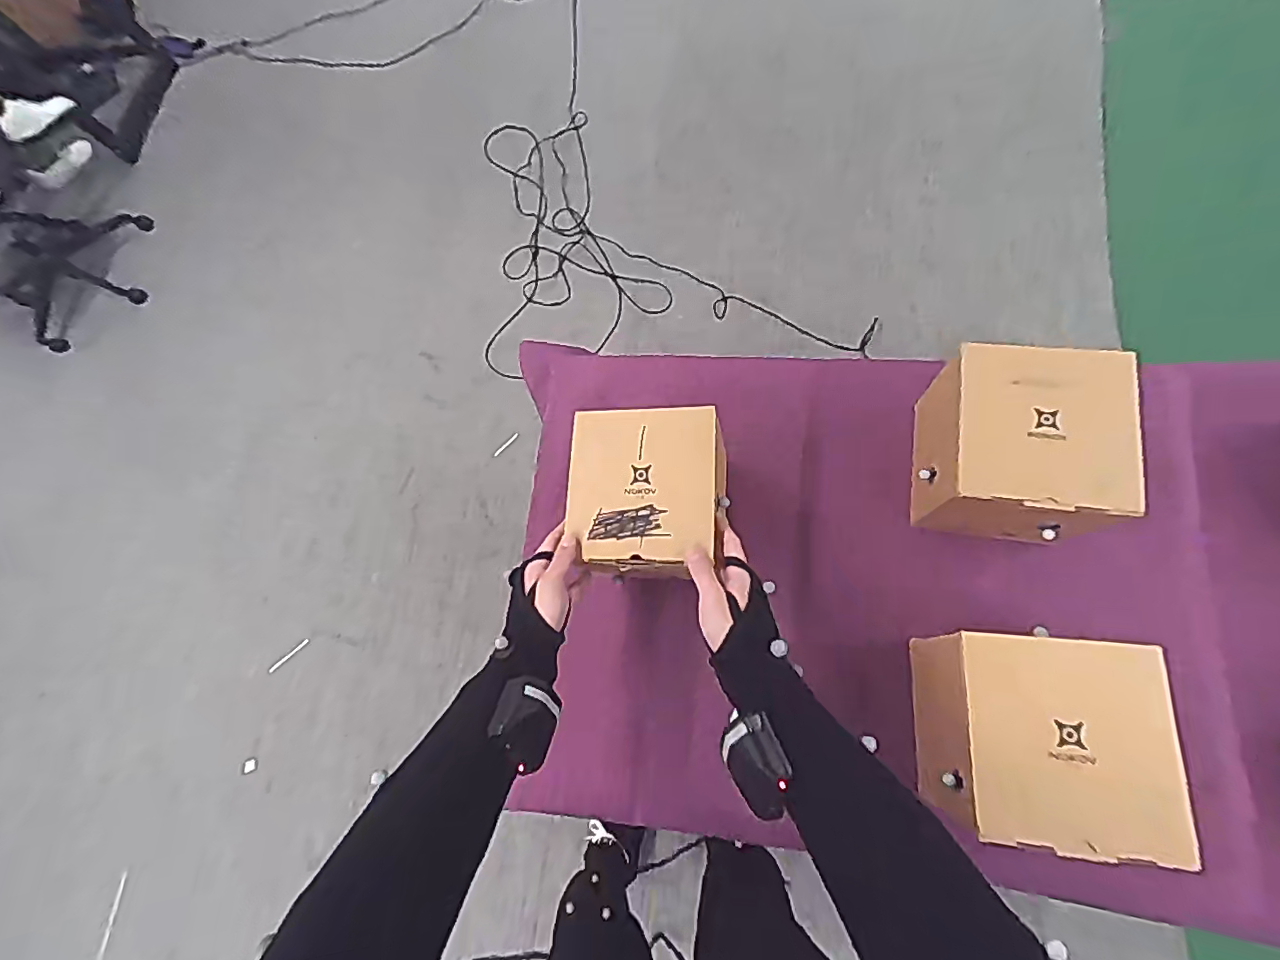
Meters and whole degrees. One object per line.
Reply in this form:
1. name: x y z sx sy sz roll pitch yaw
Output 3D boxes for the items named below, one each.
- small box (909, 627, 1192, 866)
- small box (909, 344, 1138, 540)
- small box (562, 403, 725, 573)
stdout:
1. small box: 0.386 0.250 0.549 0.168 0.176 0.179 2 73 11
2. small box: 0.425 -0.035 0.628 0.168 0.176 0.179 7 75 12
3. small box: 0.016 0.019 0.669 0.168 0.176 0.179 0 74 13
